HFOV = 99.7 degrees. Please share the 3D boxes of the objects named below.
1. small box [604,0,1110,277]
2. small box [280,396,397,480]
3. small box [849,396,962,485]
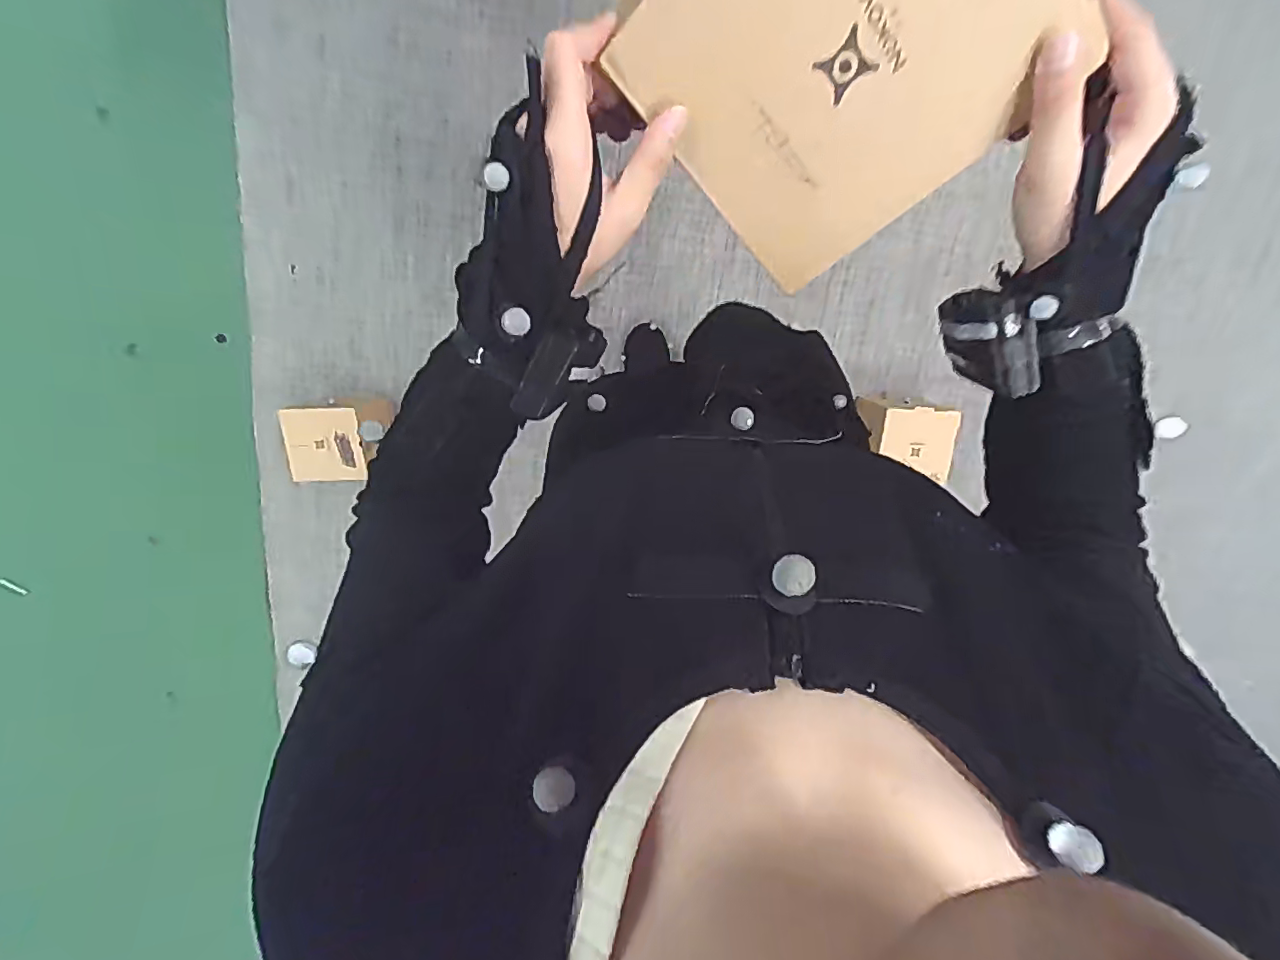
[{"bbox_3d":[0.098,-0.263,0.303,0.168,0.176,0.179,34,129,-30],"label":"small box"},{"bbox_3d":[-0.689,-0.103,1.261,0.179,0.176,0.168,-1,106,2],"label":"small box"},{"bbox_3d":[0.605,-0.097,1.256,0.168,0.176,0.179,3,106,-1],"label":"small box"}]
